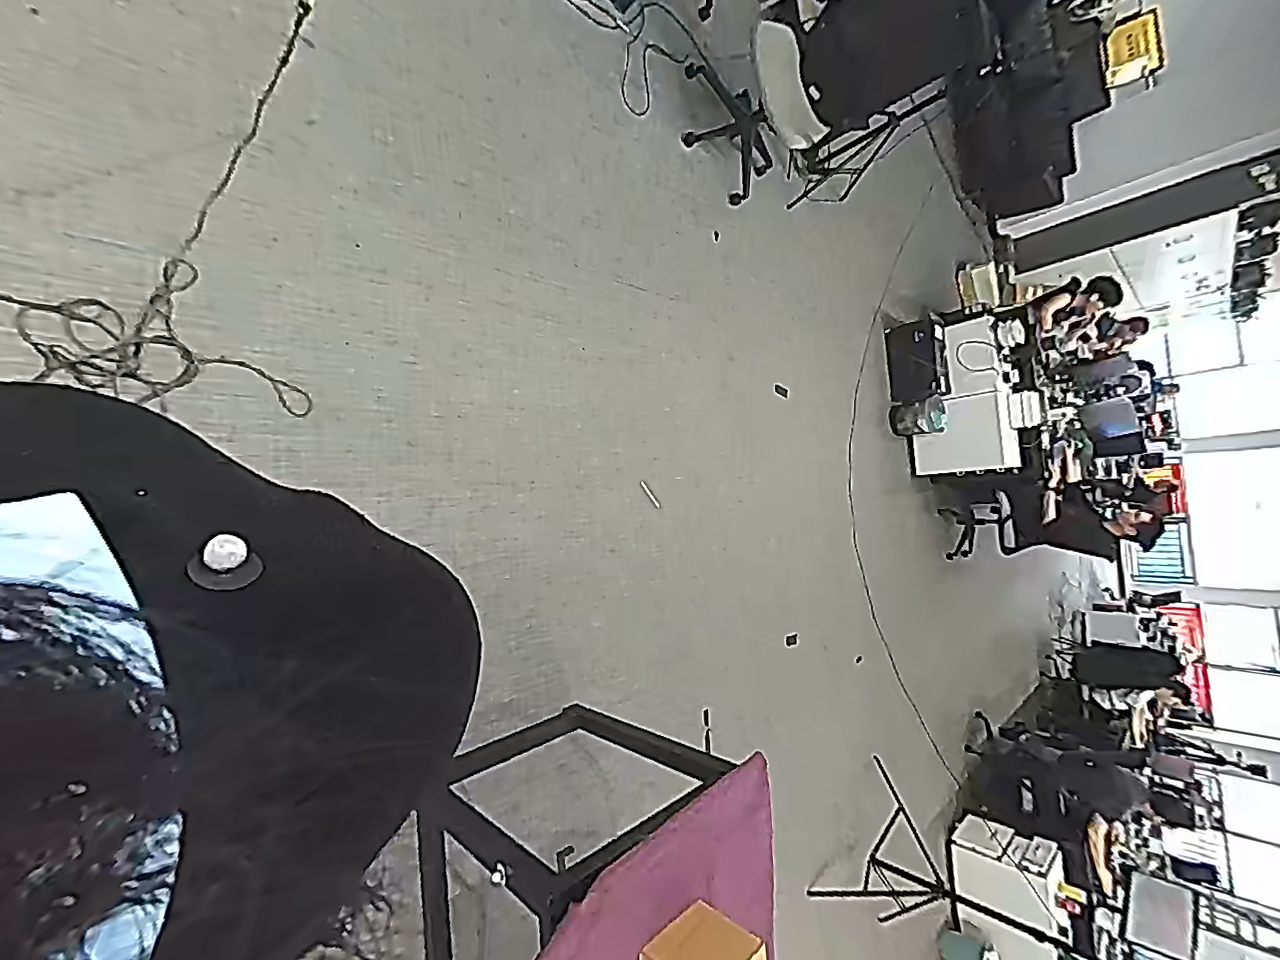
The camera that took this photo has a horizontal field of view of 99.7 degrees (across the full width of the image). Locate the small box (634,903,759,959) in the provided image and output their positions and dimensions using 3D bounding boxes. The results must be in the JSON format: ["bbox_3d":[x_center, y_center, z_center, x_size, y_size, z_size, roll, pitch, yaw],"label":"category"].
[{"bbox_3d":[0.110,0.962,1.024,0.179,0.176,0.168,-5,90,-42],"label":"small box"}]
